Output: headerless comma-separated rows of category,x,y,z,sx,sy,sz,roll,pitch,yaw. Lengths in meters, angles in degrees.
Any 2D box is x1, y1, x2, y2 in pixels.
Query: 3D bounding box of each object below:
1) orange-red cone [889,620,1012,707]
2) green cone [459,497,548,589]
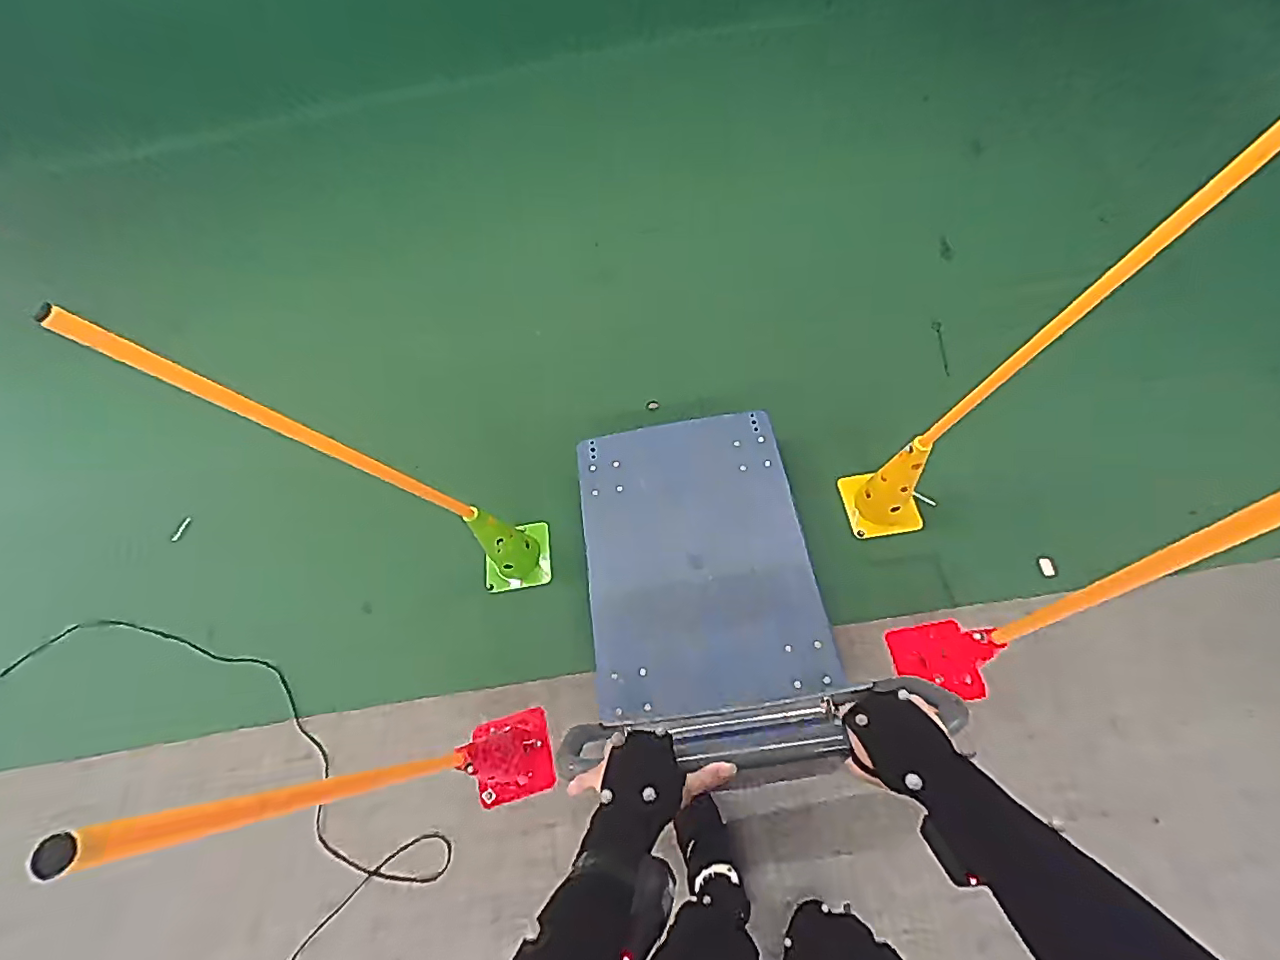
orange-red cone,0.737,0.386,1.227,0.198,0.360,0.199,-9,61,2
green cone,-0.399,0.145,1.486,0.200,0.368,0.202,-10,62,3
